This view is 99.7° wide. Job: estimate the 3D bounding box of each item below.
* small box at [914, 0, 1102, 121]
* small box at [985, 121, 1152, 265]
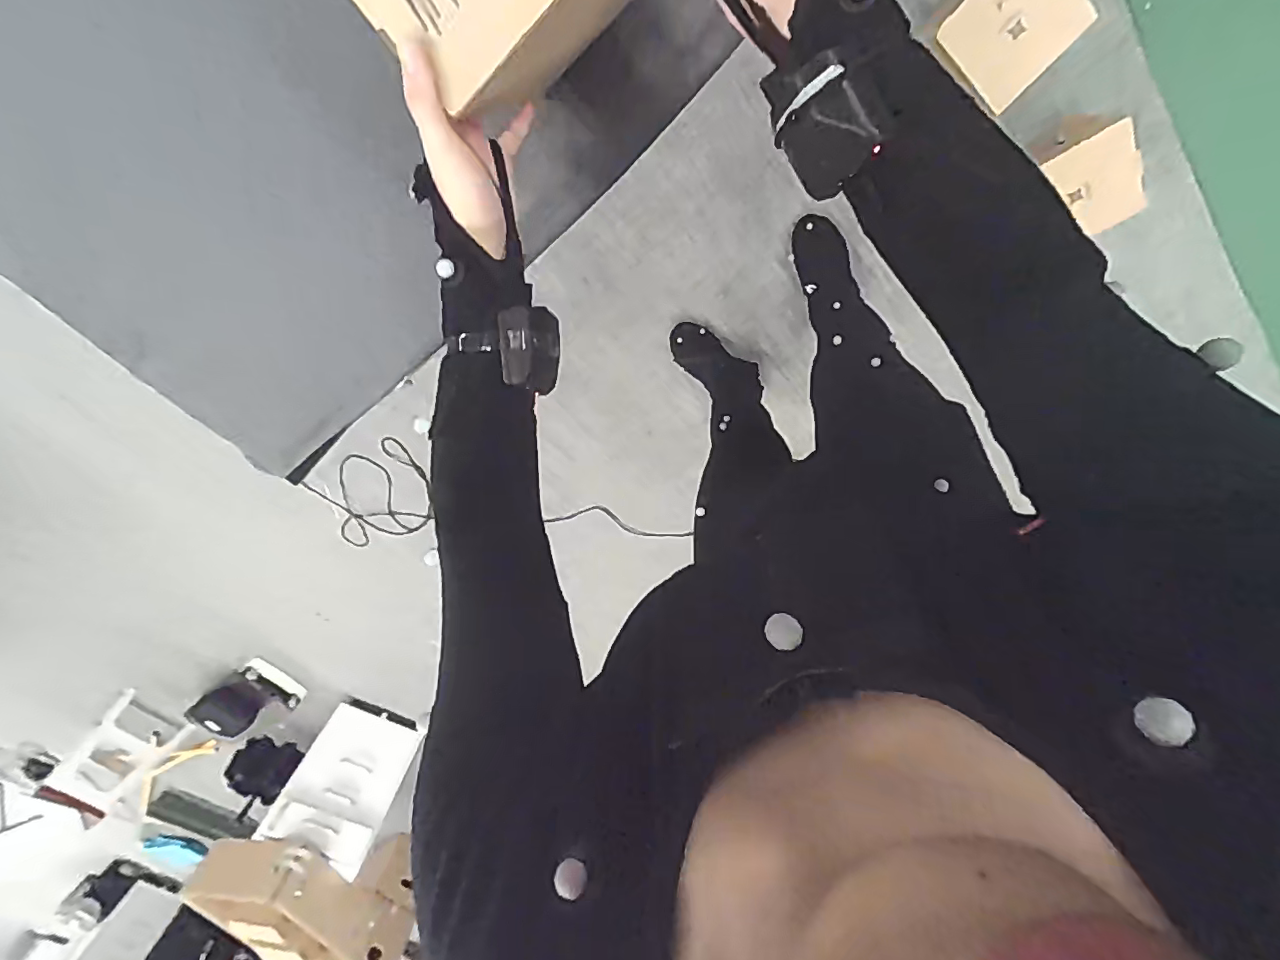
[{"bbox_3d":[0.598,-0.741,0.903,0.179,0.176,0.168,37,121,-15],"label":"small box"},{"bbox_3d":[0.787,-0.537,1.007,0.179,0.176,0.168,-26,117,24],"label":"small box"}]
